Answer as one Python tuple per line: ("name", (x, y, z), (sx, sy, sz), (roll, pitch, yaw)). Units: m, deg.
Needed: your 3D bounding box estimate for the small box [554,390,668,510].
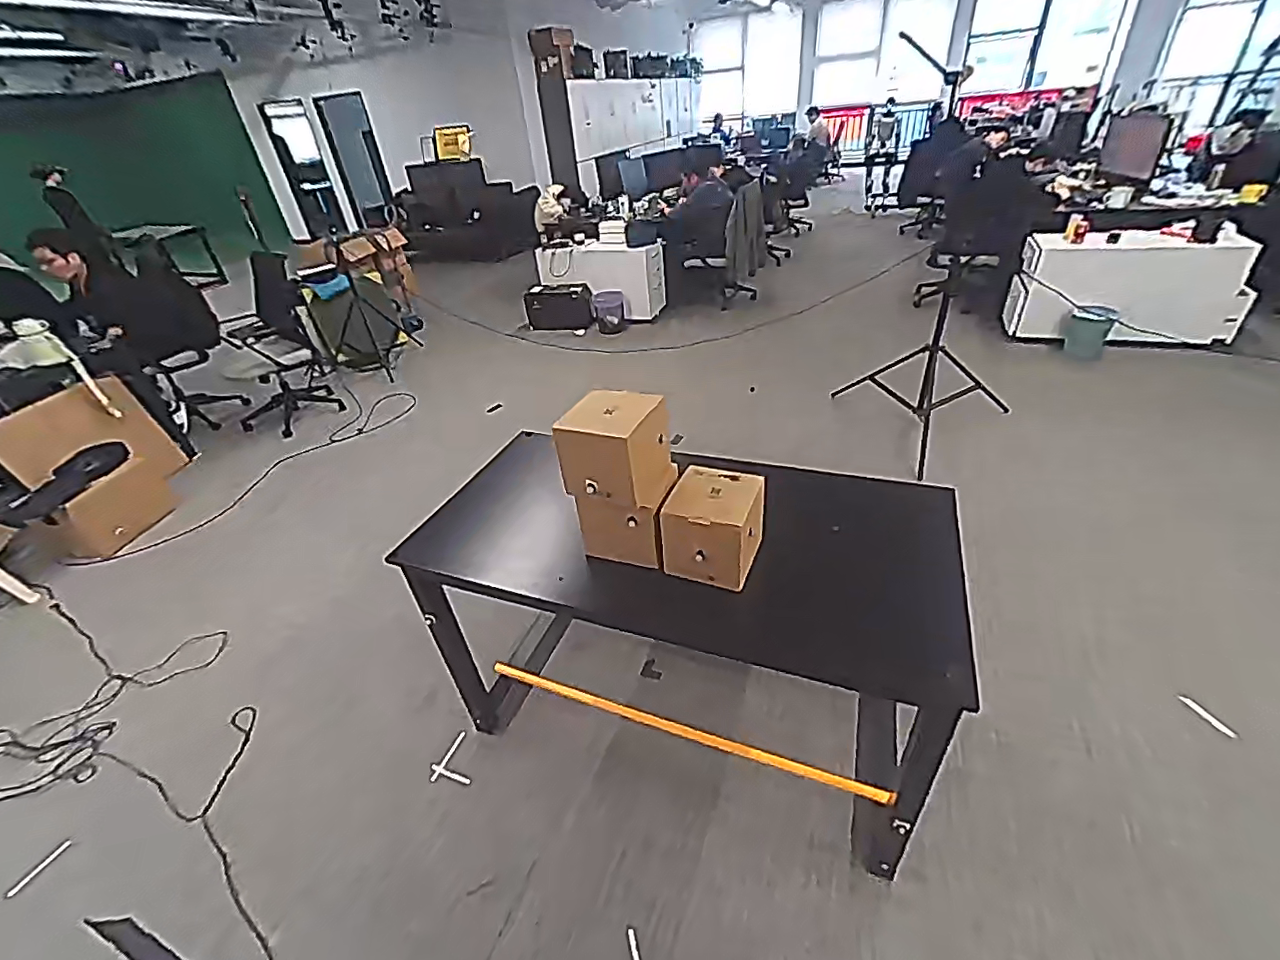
("small box", (-0.050, -0.065, 1.100), (0.168, 0.176, 0.179), (9, 38, 24))
